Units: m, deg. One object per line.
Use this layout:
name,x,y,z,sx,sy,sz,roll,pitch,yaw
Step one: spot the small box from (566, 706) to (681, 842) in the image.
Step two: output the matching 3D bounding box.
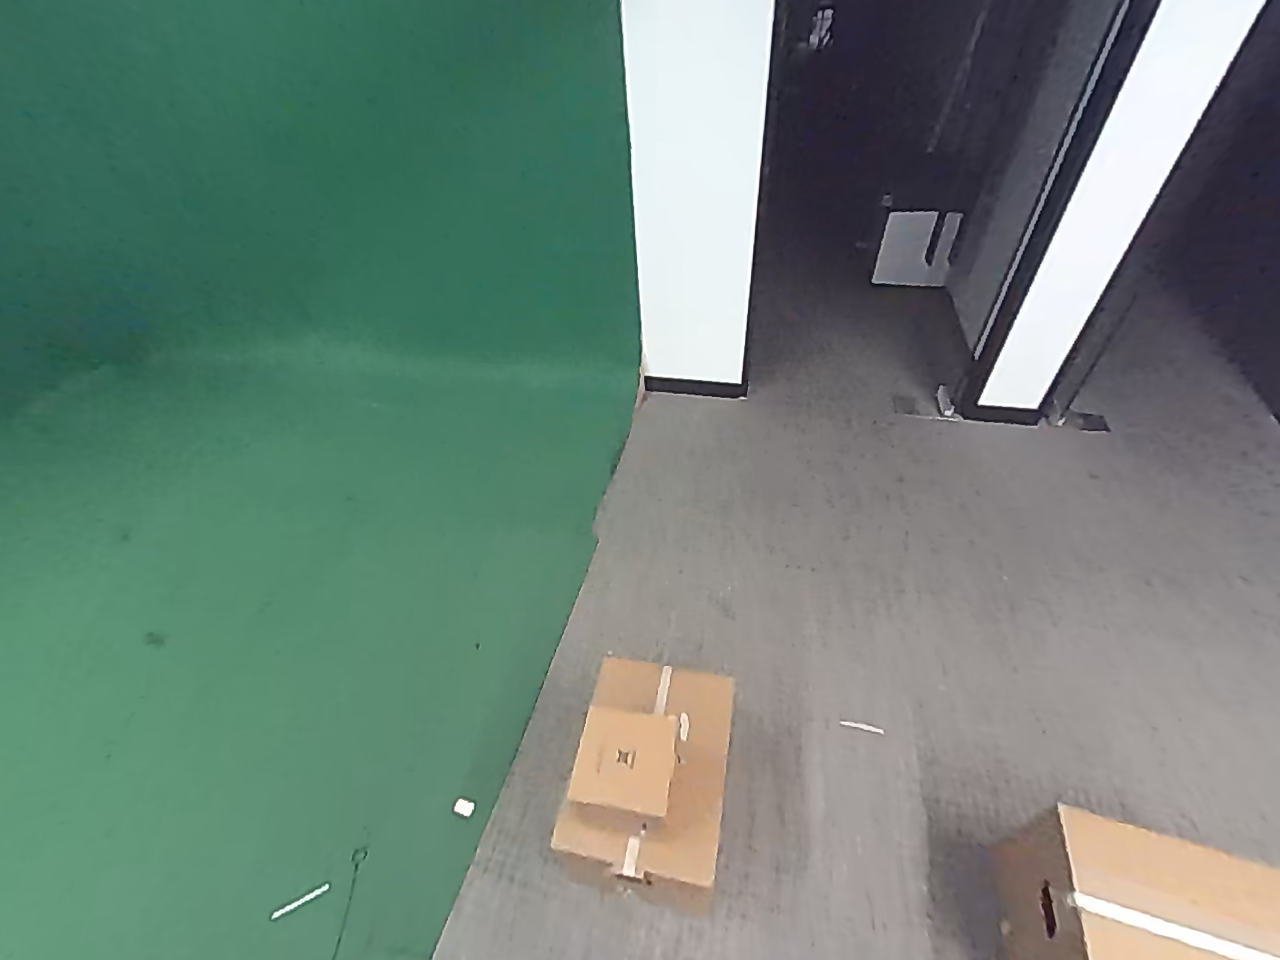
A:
small box,-0.021,0.553,1.013,0.179,0.176,0.168,5,43,12

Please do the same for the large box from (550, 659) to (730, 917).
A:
large box,0.026,0.685,1.226,0.320,0.320,0.408,7,44,11
